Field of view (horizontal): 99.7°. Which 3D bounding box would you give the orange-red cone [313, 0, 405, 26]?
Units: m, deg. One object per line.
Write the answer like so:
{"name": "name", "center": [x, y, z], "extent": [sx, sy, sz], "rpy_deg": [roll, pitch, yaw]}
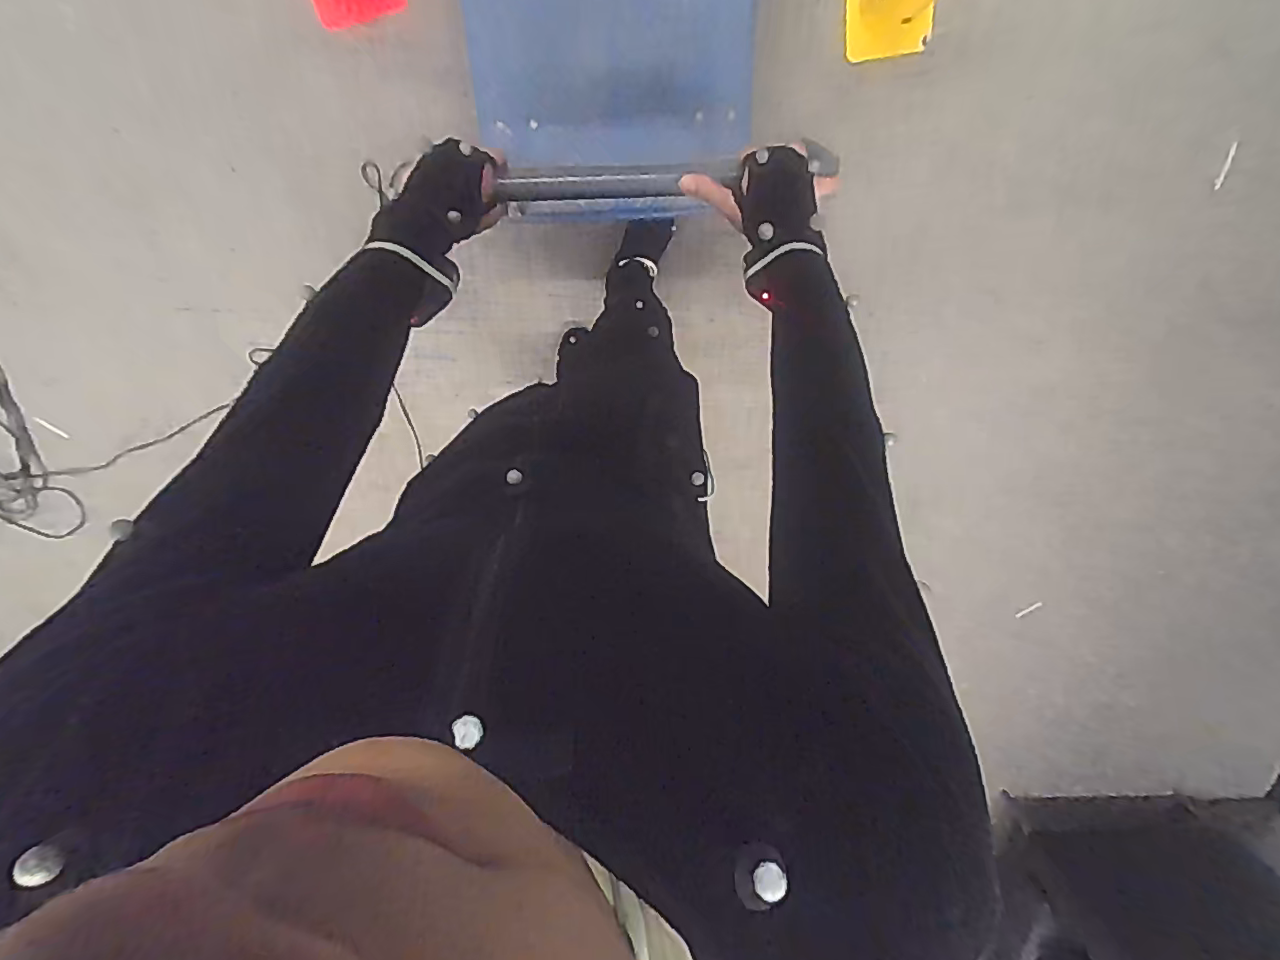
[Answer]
{"name": "orange-red cone", "center": [-0.608, -1.021, 0.979], "extent": [0.199, 0.360, 0.198], "rpy_deg": [-11, 114, 3]}
